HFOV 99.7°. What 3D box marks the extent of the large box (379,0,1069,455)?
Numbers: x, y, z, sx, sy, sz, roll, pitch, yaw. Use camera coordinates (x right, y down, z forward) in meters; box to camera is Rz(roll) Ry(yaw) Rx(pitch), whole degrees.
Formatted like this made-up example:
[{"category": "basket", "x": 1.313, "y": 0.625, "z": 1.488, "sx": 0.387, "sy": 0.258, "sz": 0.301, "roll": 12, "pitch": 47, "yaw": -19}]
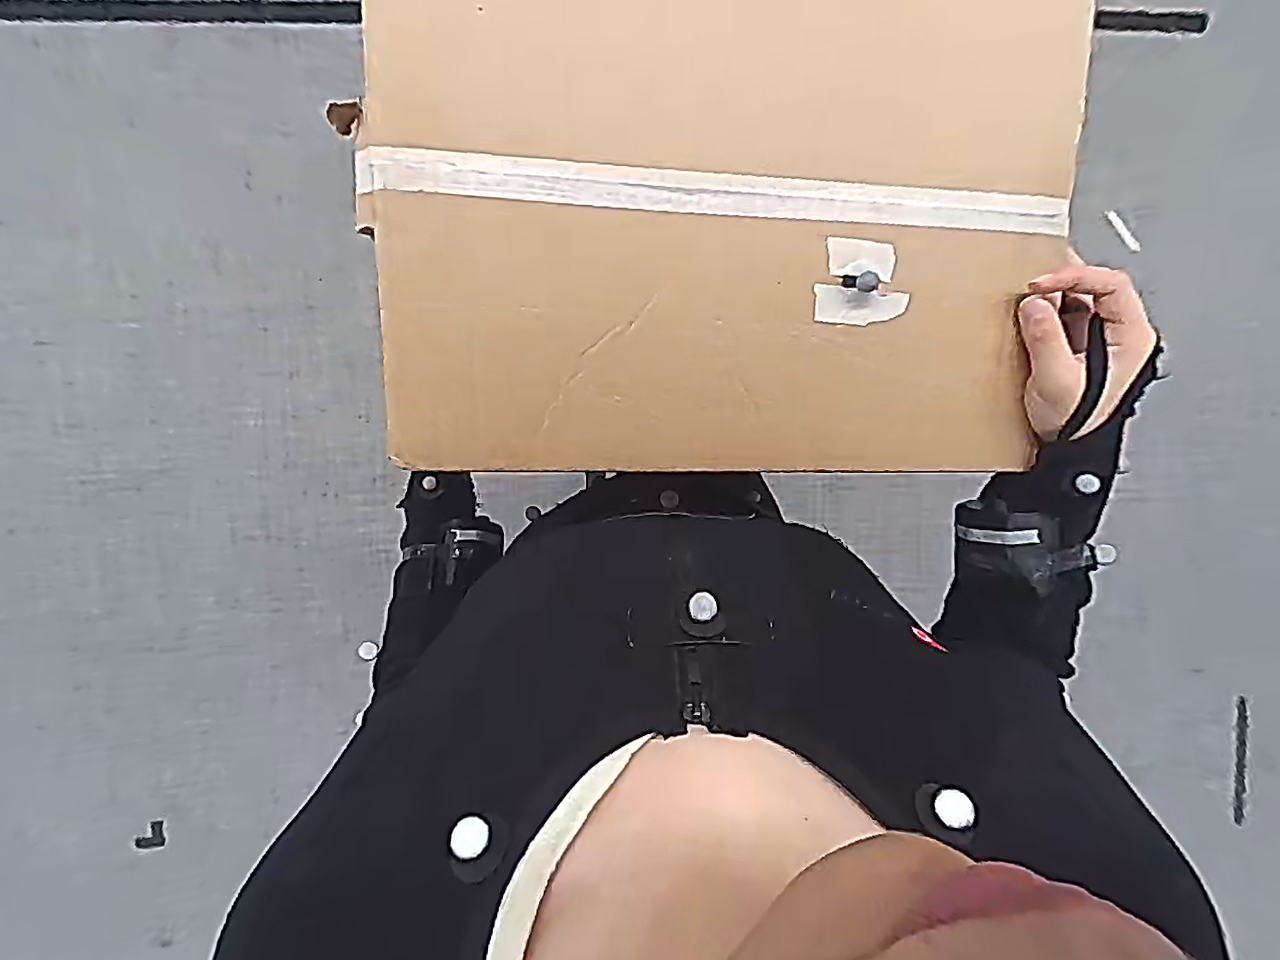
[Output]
[{"category": "large box", "x": 0.038, "y": -0.193, "z": 0.459, "sx": 0.408, "sy": 0.320, "sz": 0.320, "roll": -1, "pitch": 100, "yaw": -10}]
